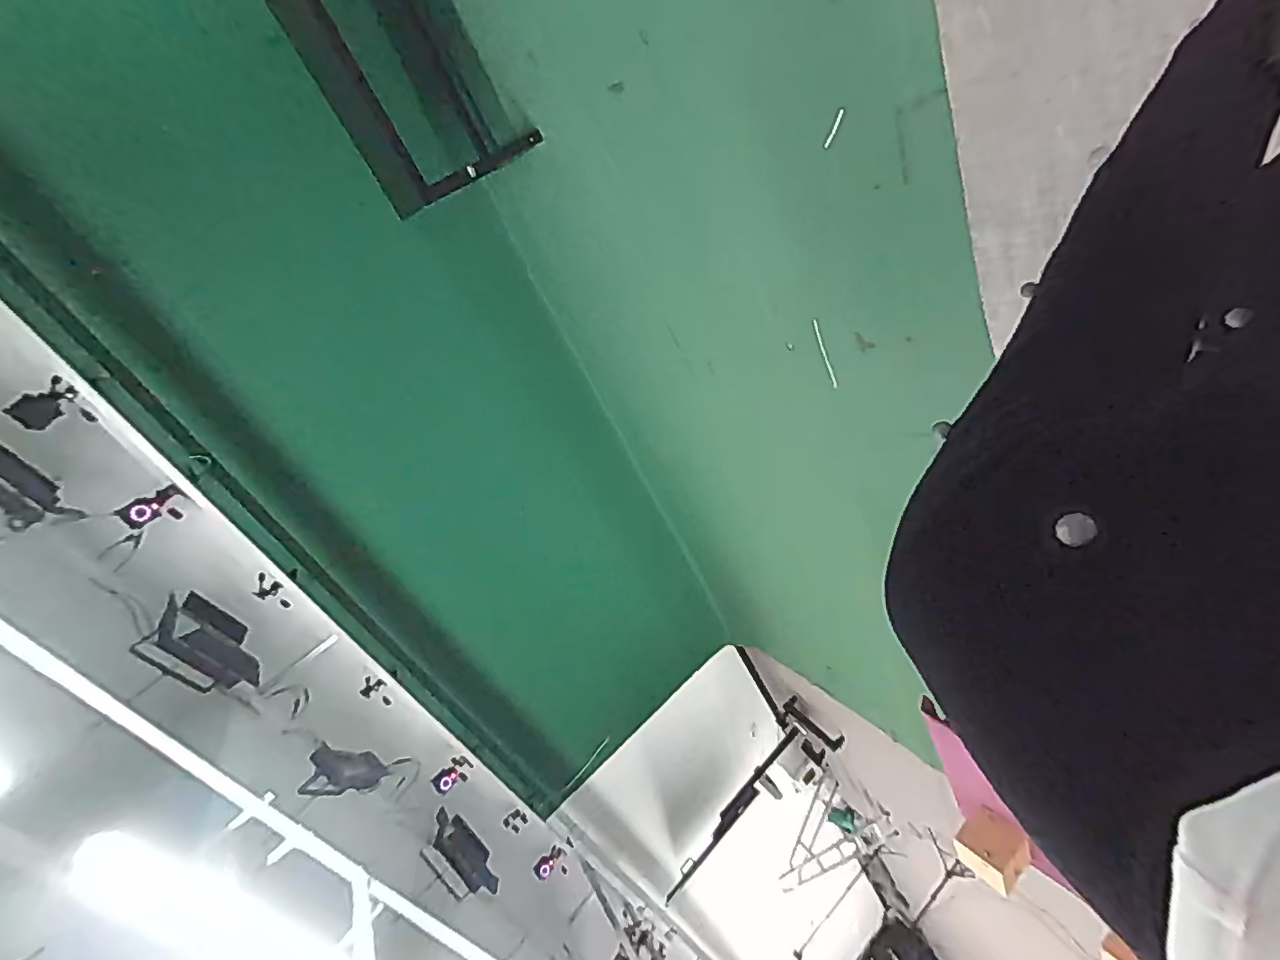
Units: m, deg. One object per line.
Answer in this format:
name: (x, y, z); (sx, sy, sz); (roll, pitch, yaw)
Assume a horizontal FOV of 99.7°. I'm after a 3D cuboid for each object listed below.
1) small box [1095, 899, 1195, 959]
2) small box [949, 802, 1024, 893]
small box: (1.454, 1.372, 1.555); (0.168, 0.176, 0.179); (19, 143, 58)
small box: (1.232, 1.296, 1.915); (0.168, 0.176, 0.179); (20, 144, 54)
